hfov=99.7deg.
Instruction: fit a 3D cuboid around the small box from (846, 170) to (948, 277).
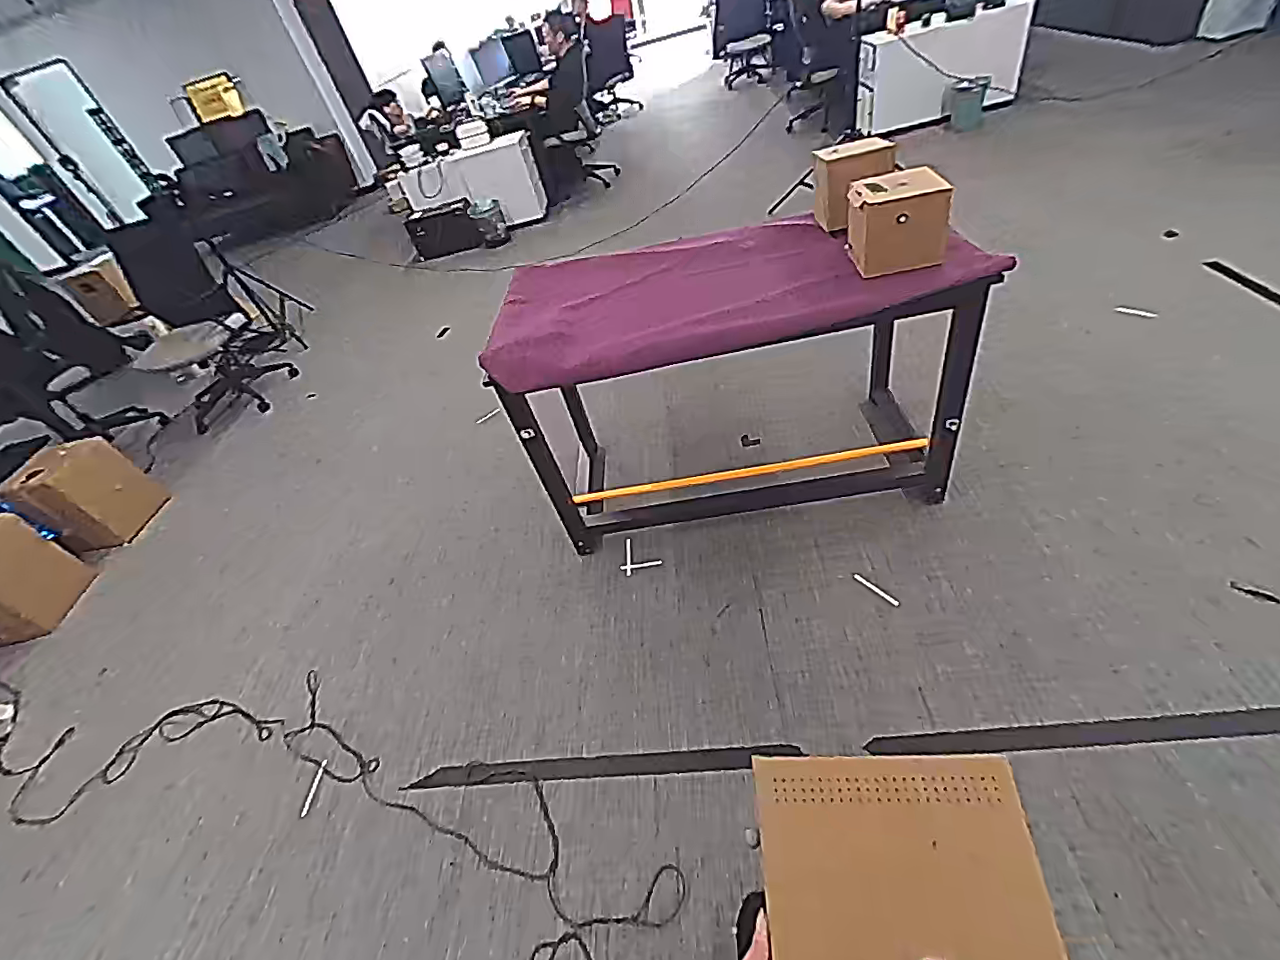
[{"bbox_3d":[0.590,-0.595,1.264,0.179,0.176,0.168,-8,42,10],"label":"small box"}]
